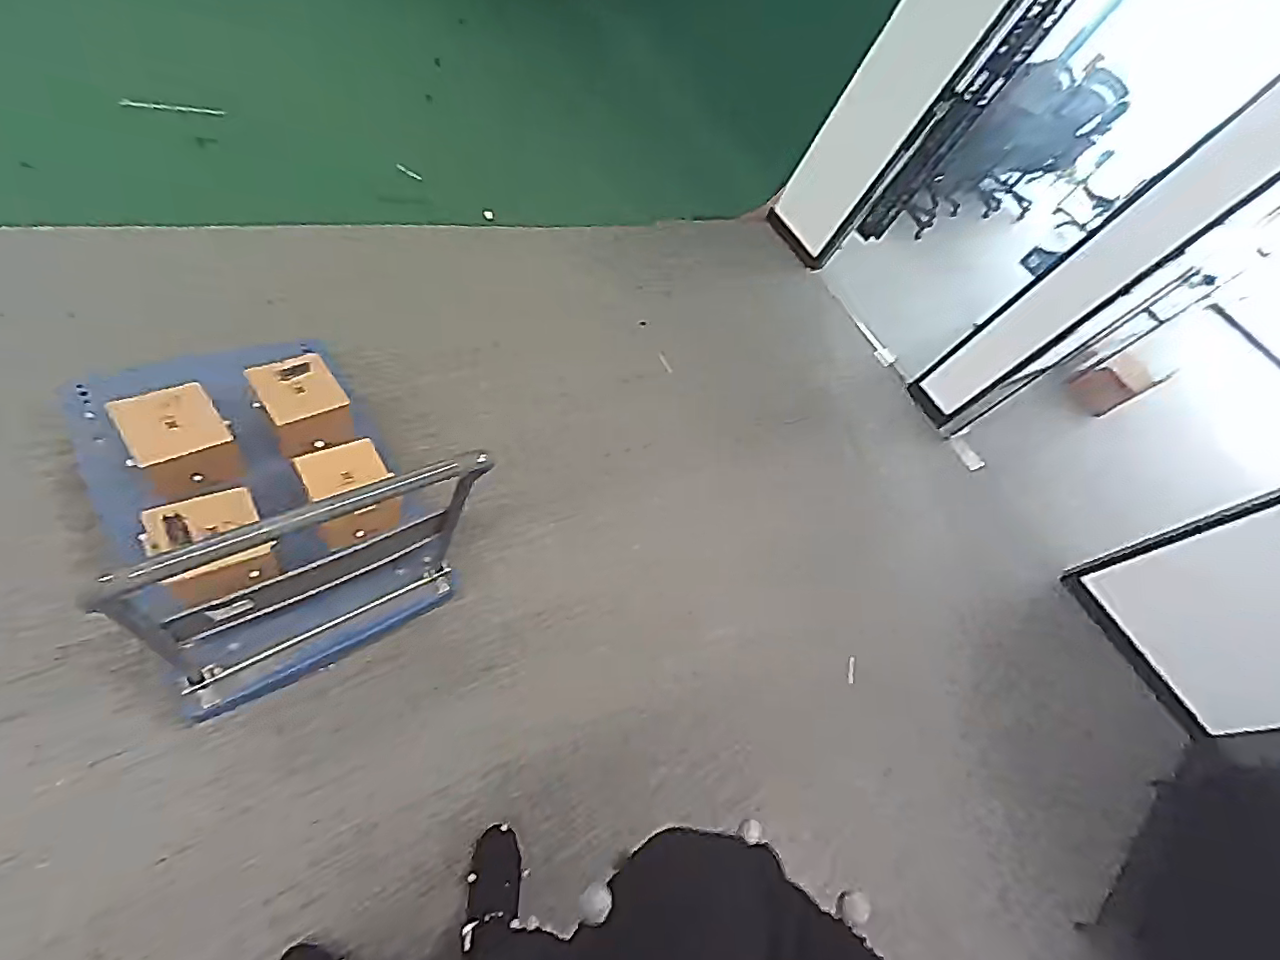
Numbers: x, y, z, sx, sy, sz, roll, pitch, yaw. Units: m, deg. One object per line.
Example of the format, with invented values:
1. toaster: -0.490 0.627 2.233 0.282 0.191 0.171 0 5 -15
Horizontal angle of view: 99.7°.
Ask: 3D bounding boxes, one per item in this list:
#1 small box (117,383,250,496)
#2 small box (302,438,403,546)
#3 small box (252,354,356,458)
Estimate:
1. small box: -1.023 -0.084 1.227 0.168 0.176 0.179 -29 76 -37
2. small box: -0.697 0.030 1.314 0.168 0.176 0.179 -24 73 -35
3. small box: -0.847 -0.186 1.376 0.168 0.176 0.179 -30 77 -35
